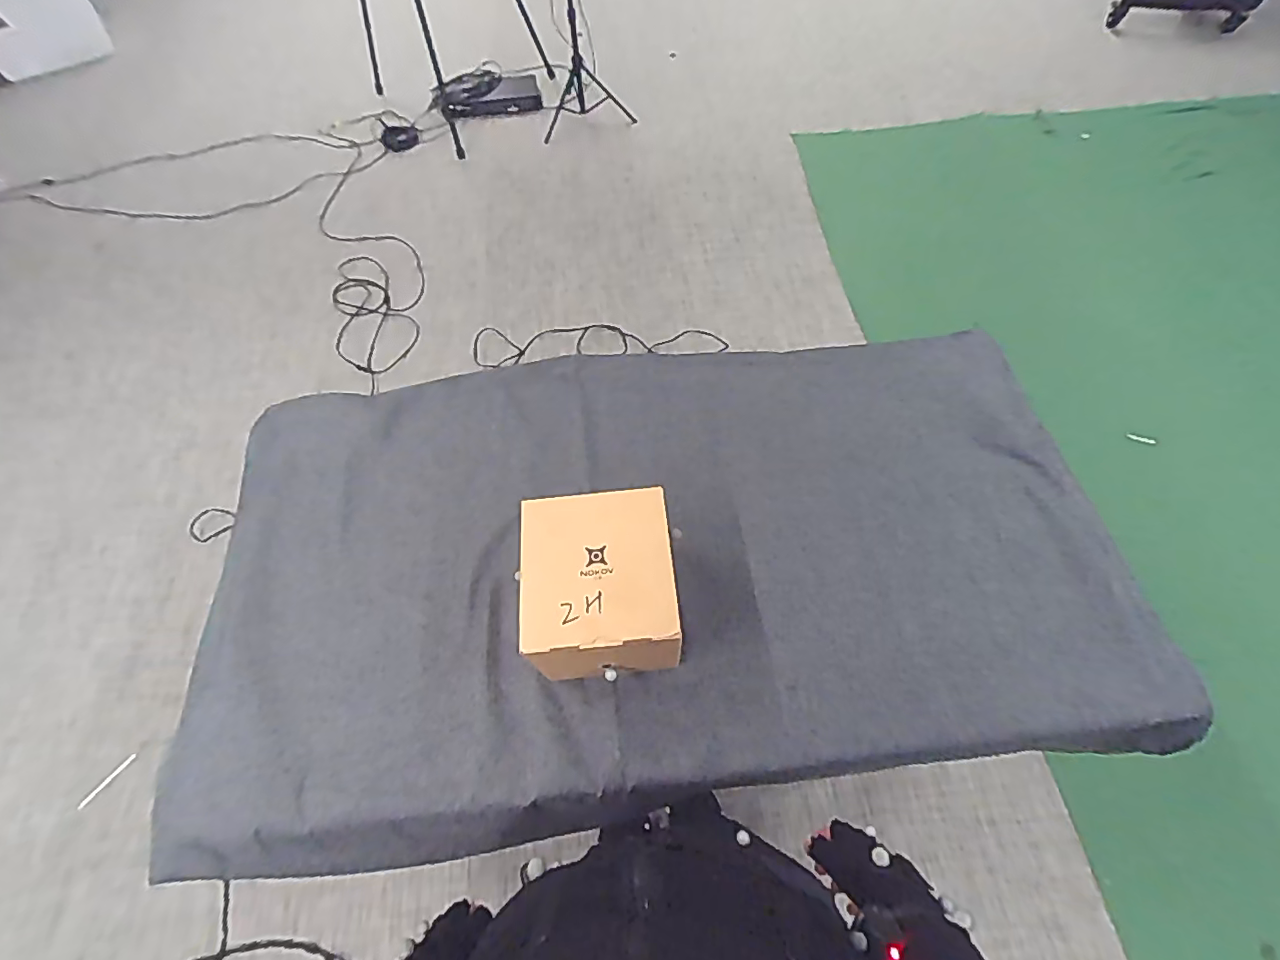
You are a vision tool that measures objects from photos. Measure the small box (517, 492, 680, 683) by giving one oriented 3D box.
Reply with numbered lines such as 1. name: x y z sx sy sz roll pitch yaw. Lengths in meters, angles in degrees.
1. small box: -0.046 0.134 0.651 0.168 0.176 0.179 -6 61 0
